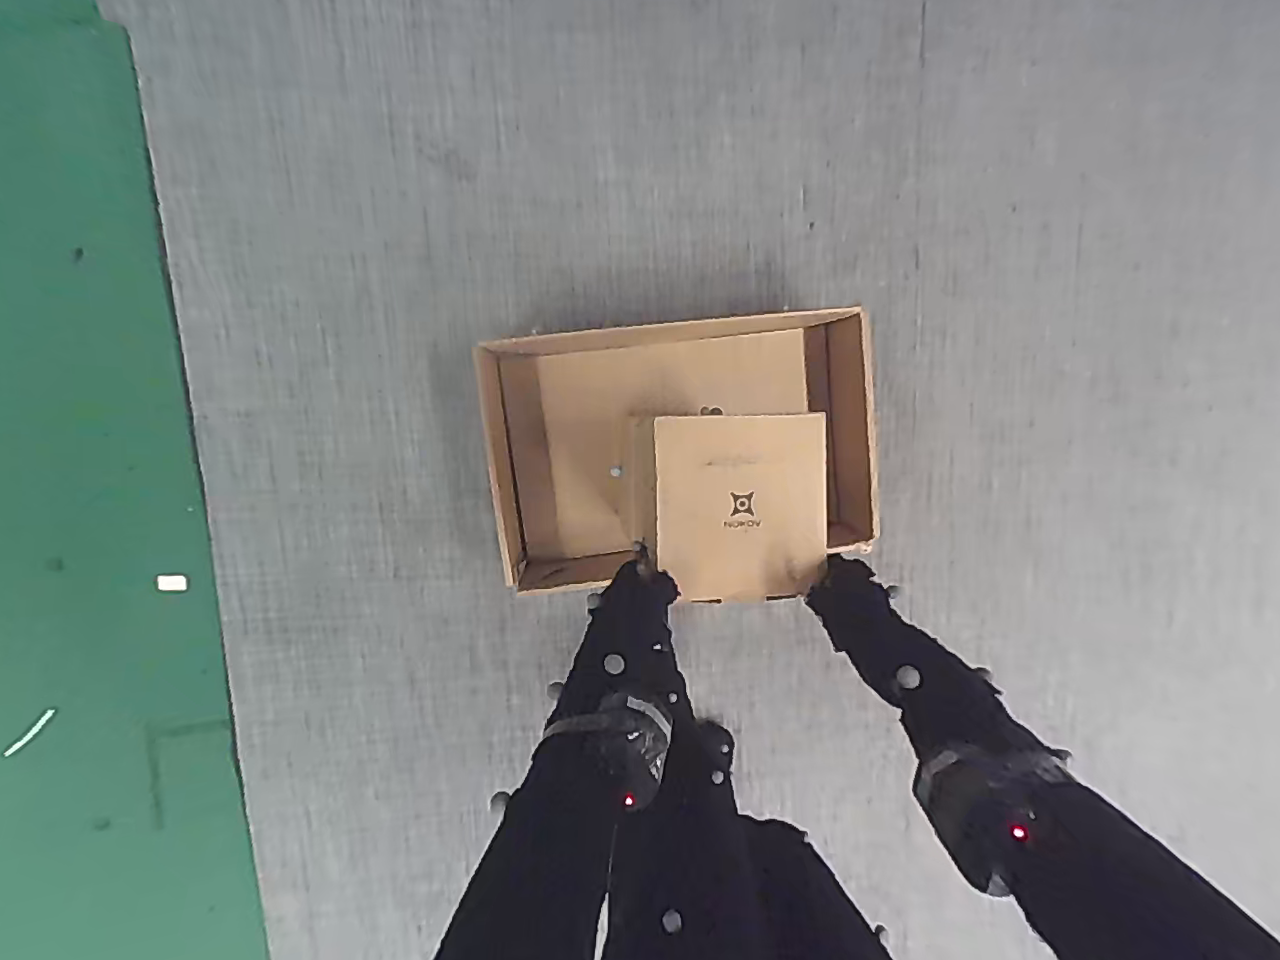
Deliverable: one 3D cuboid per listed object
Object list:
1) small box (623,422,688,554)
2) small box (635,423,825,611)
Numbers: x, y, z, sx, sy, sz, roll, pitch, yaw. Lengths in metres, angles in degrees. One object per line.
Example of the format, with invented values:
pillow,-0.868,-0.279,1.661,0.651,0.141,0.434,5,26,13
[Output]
small box,0.071,0.006,0.746,0.179,0.176,0.168,1,95,-5
small box,0.085,0.031,0.583,0.168,0.176,0.179,-2,92,-6
